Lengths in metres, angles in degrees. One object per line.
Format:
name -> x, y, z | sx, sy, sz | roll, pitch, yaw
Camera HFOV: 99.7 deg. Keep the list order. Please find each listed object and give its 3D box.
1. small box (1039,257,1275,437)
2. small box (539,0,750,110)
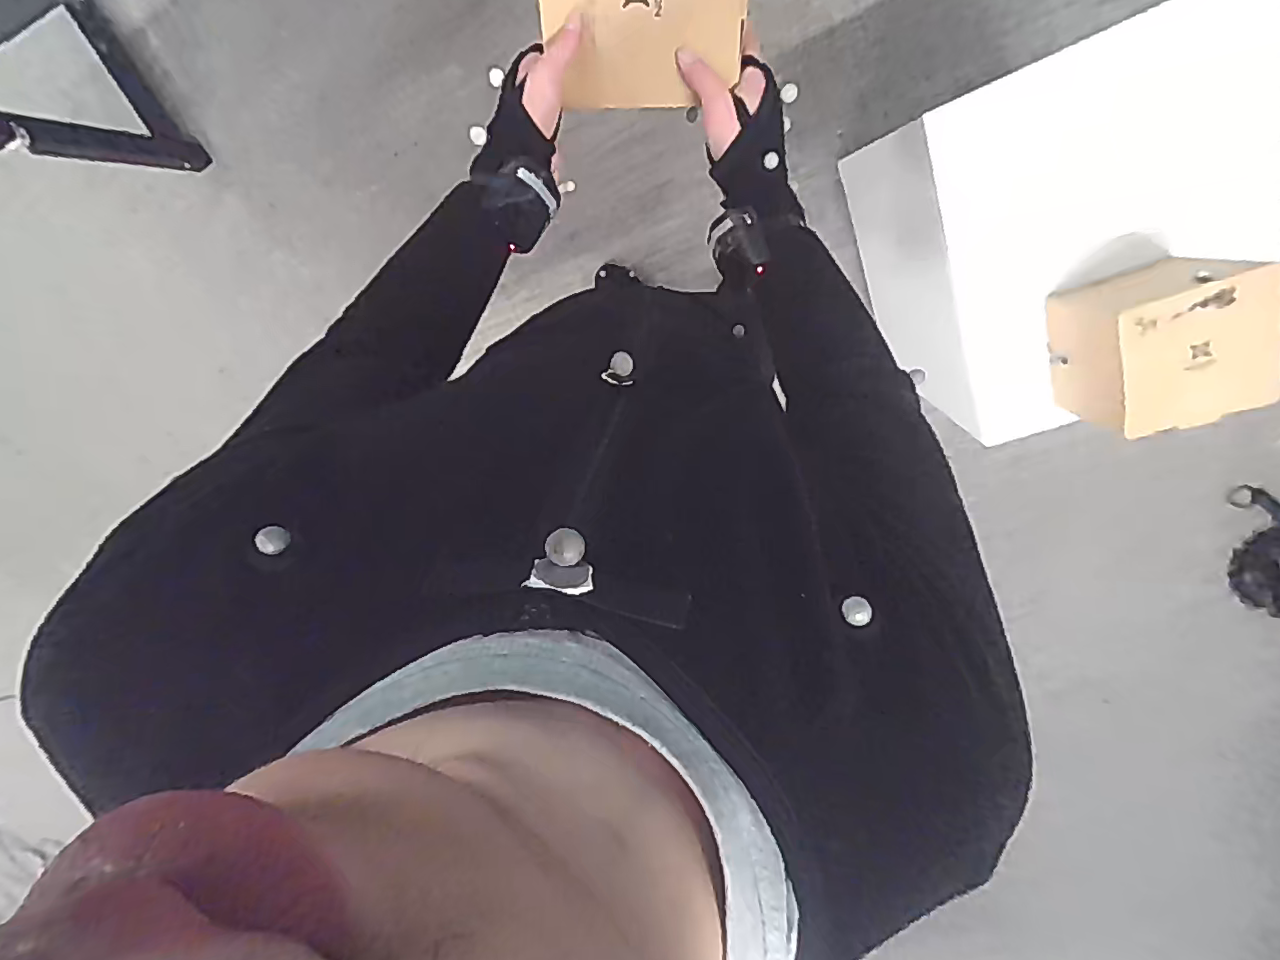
small box -> 0.684, -0.186, 0.739 | 0.168, 0.176, 0.179 | -17, 113, 13
small box -> 0.010, -0.448, 0.499 | 0.179, 0.176, 0.168 | 2, 127, 6
